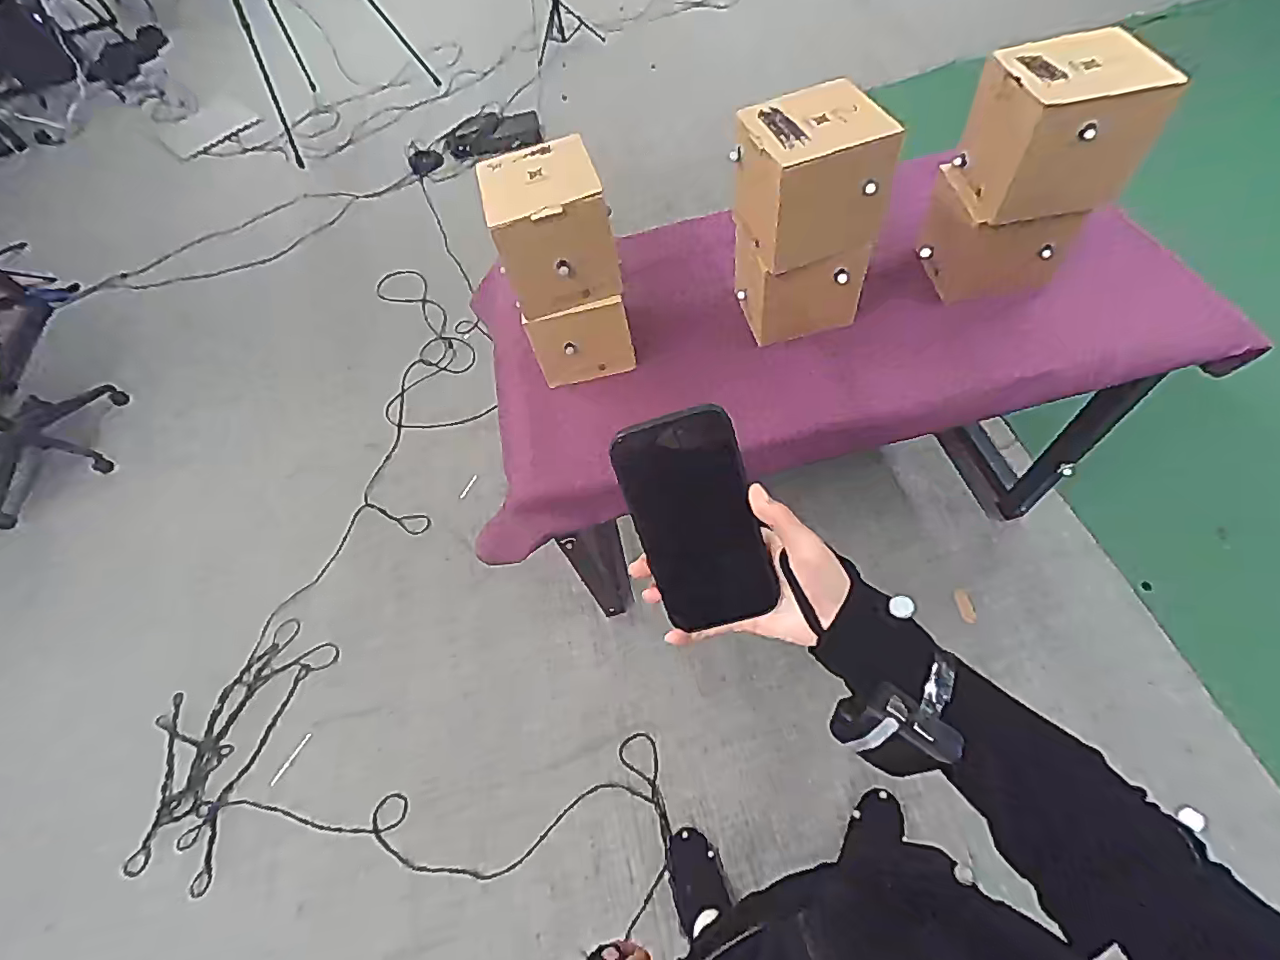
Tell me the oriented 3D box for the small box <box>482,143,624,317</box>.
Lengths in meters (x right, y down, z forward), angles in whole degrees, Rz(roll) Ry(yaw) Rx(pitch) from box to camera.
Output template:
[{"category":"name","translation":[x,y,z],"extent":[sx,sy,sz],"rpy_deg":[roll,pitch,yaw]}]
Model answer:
[{"category":"small box","translation":[-0.131,-0.378,0.845],"extent":[0.168,0.176,0.179],"rpy_deg":[-16,58,-1]}]

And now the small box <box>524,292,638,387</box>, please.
[{"category":"small box","translation":[-0.105,-0.287,0.979],"extent":[0.168,0.176,0.179],"rpy_deg":[-12,58,2]}]

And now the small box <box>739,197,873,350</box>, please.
[{"category":"small box","translation":[0.278,-0.357,0.953],"extent":[0.179,0.176,0.168],"rpy_deg":[-13,57,2]}]

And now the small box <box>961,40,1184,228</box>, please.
[{"category":"small box","translation":[0.600,-0.494,0.788],"extent":[0.179,0.176,0.168],"rpy_deg":[-8,58,5]}]

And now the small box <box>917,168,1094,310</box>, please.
[{"category":"small box","translation":[0.612,-0.421,0.934],"extent":[0.179,0.176,0.168],"rpy_deg":[-8,58,6]}]
